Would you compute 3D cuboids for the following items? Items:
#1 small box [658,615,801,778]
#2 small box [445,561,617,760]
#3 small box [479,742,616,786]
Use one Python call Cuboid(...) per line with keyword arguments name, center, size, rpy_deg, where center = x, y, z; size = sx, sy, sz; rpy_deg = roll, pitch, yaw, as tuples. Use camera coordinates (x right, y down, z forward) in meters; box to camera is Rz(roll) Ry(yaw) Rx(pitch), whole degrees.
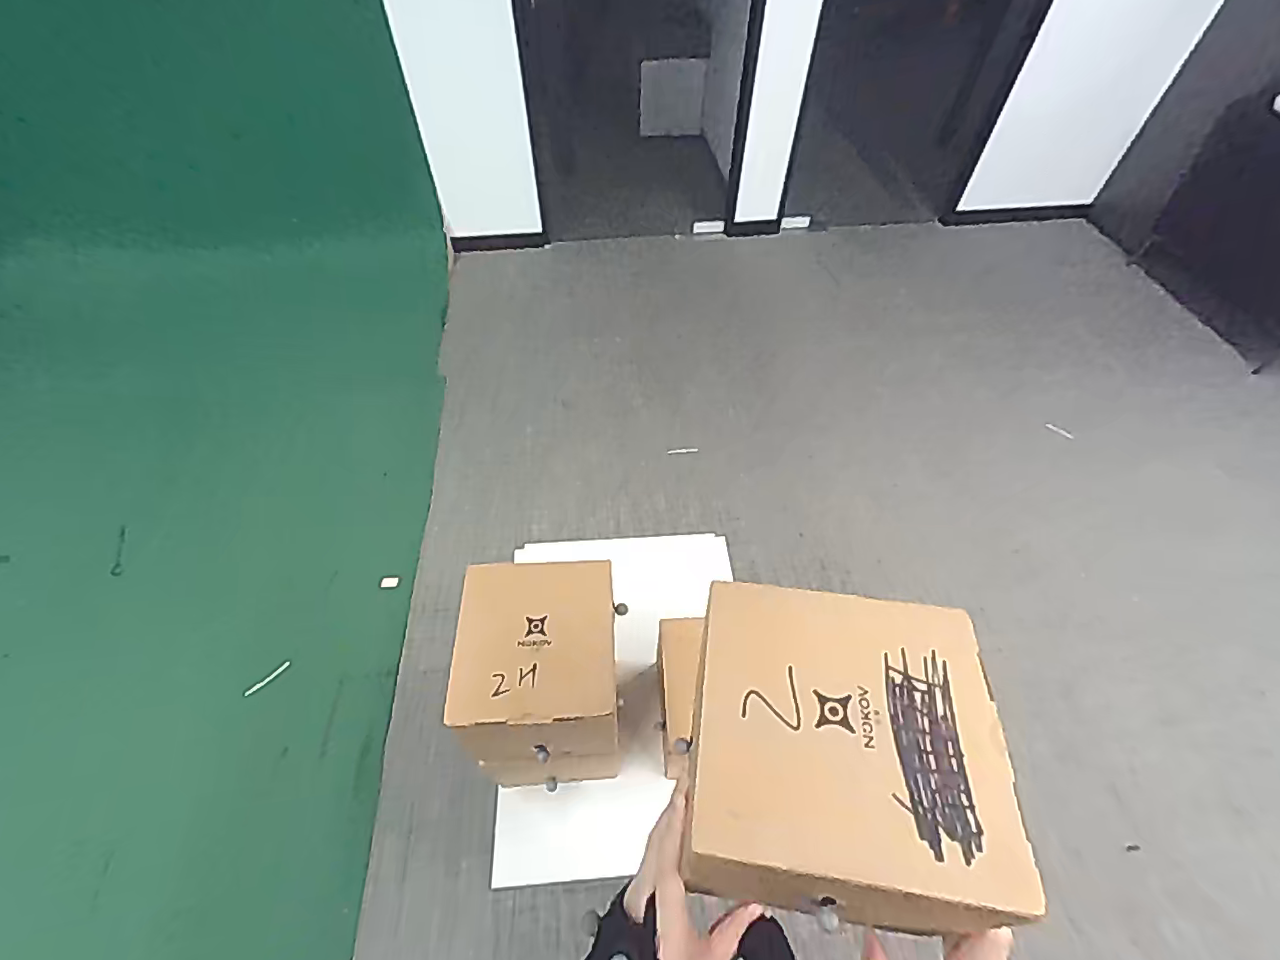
Cuboid(name="small box", center=(0.113, 0.310, 0.770), size=(0.168, 0.176, 0.179), rpy_deg=(-2, 53, -1))
Cuboid(name="small box", center=(-0.112, 0.213, 0.634), size=(0.168, 0.176, 0.179), rpy_deg=(-2, 53, -2))
Cuboid(name="small box", center=(-0.119, 0.316, 0.762), size=(0.168, 0.176, 0.179), rpy_deg=(-3, 54, -3))
